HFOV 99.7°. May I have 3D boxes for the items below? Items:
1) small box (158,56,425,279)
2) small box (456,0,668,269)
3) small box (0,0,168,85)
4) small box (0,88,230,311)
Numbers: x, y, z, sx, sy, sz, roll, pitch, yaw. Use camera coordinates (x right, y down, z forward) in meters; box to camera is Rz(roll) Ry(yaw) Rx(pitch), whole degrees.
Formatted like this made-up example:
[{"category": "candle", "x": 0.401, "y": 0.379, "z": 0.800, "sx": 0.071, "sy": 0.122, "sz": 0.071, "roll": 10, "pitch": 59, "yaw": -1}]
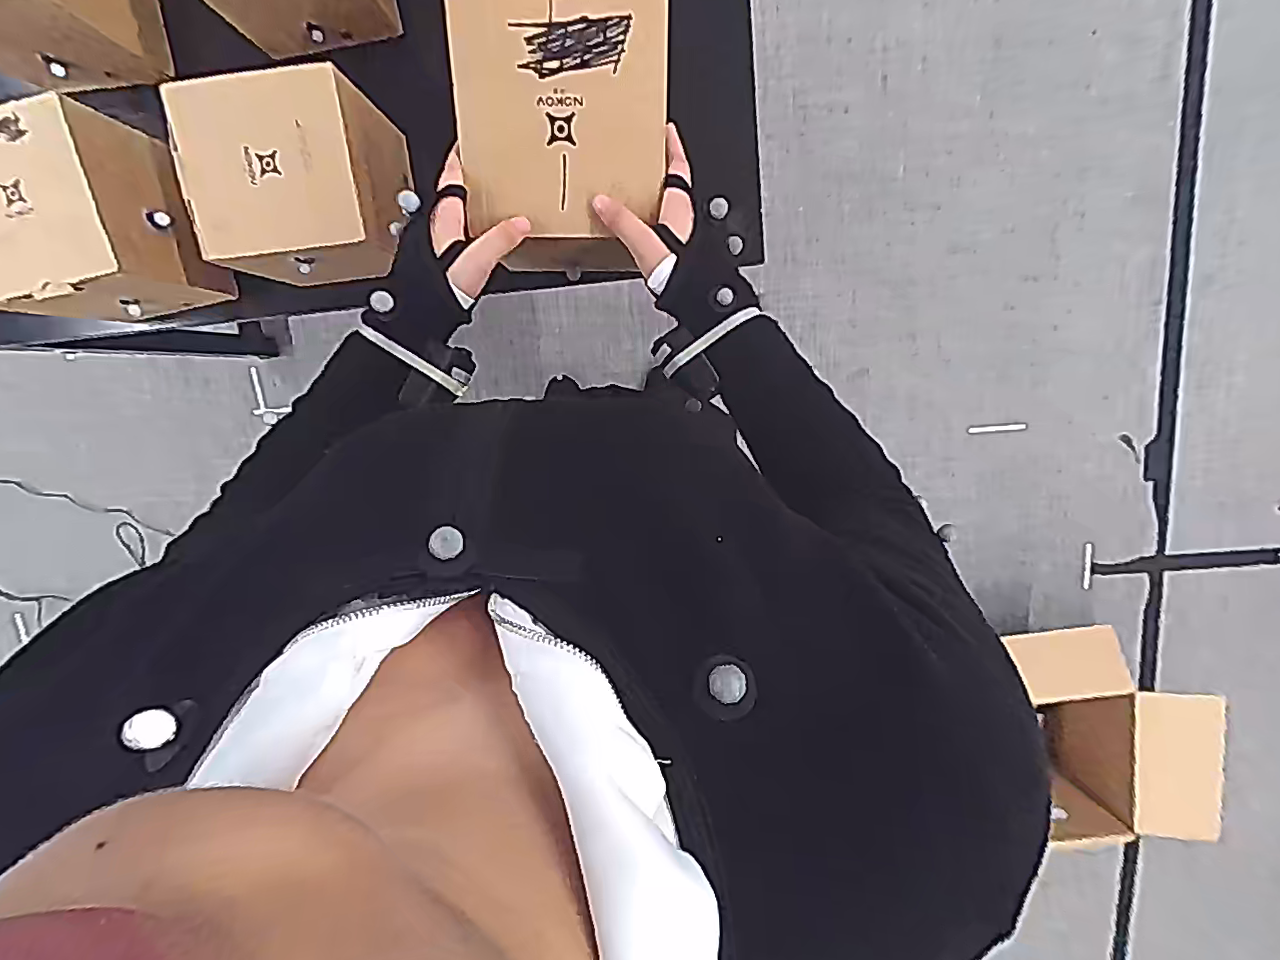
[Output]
[{"category": "small box", "x": -0.374, "y": -0.335, "z": 0.615, "sx": 0.179, "sy": 0.176, "sz": 0.168, "roll": -7, "pitch": 101, "yaw": 1}, {"category": "small box", "x": -0.064, "y": -0.308, "z": 0.509, "sx": 0.168, "sy": 0.176, "sz": 0.179, "roll": 0, "pitch": 102, "yaw": -1}, {"category": "small box", "x": -0.665, "y": -0.564, "z": 0.575, "sx": 0.168, "sy": 0.176, "sz": 0.179, "roll": -4, "pitch": 101, "yaw": 2}, {"category": "small box", "x": -0.629, "y": -0.300, "z": 0.625, "sx": 0.168, "sy": 0.176, "sz": 0.179, "roll": -11, "pitch": 101, "yaw": 3}]
